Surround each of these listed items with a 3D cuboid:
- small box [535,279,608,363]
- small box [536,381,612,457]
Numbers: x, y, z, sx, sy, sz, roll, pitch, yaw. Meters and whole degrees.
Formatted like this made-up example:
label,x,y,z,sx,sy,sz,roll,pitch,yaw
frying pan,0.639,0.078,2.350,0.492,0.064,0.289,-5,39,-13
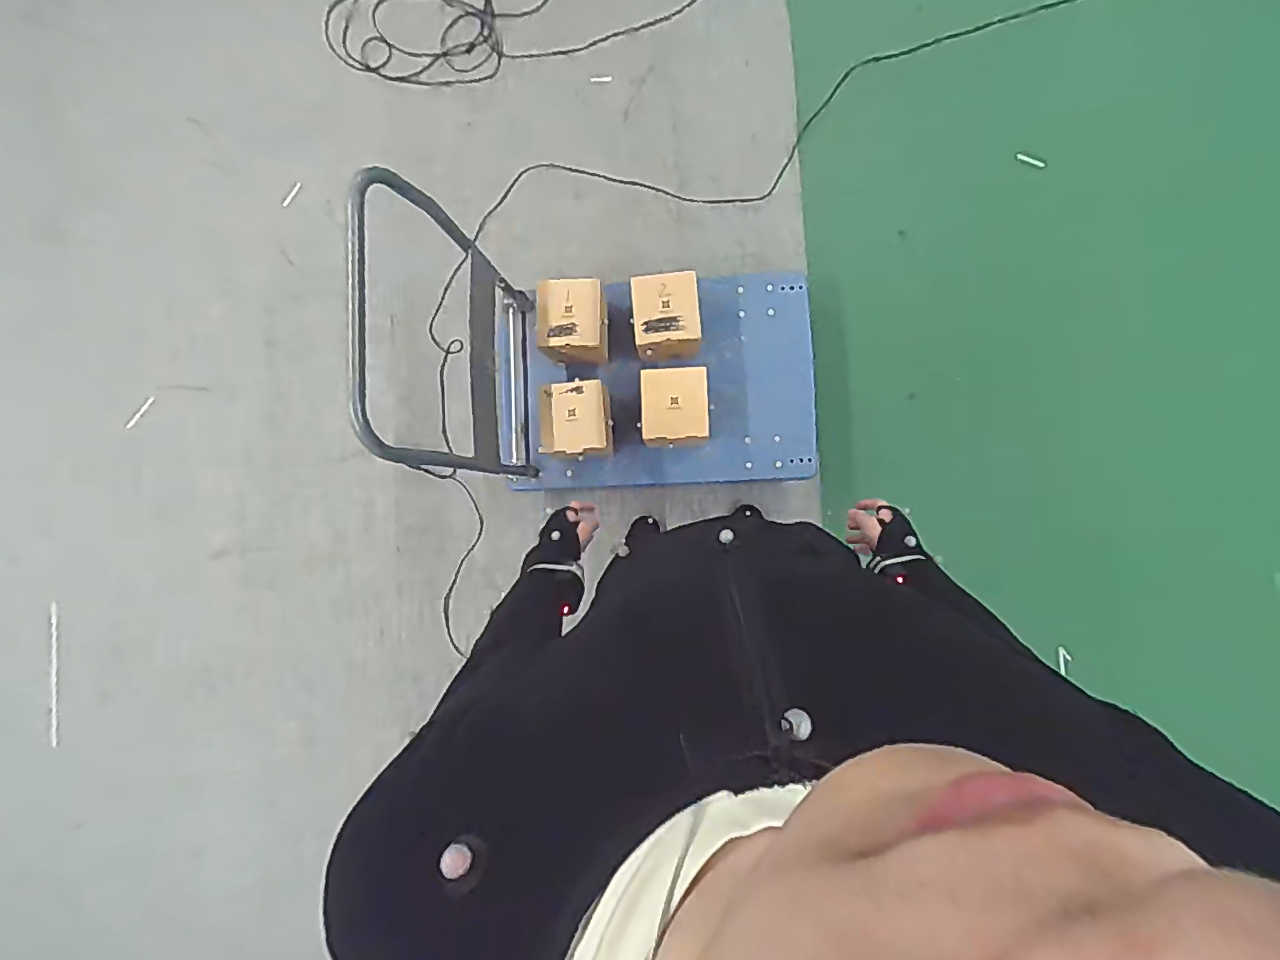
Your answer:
label,x,y,z,sx,sy,sz,roll,pitch,yaw
small box,-0.177,-0.415,1.437,0.168,0.176,0.179,0,87,4
small box,-0.168,-0.153,1.422,0.168,0.176,0.179,-4,87,4
